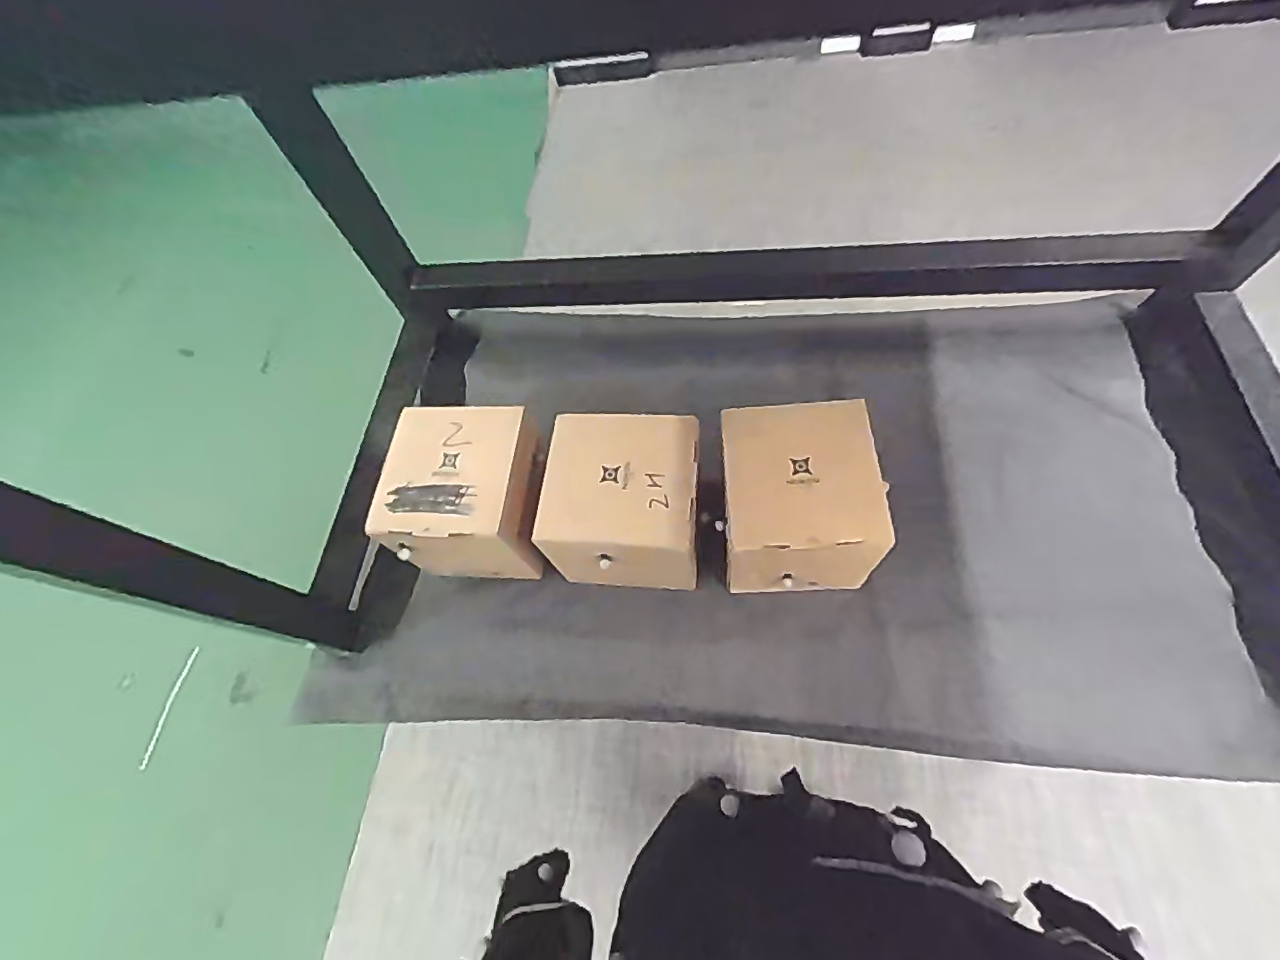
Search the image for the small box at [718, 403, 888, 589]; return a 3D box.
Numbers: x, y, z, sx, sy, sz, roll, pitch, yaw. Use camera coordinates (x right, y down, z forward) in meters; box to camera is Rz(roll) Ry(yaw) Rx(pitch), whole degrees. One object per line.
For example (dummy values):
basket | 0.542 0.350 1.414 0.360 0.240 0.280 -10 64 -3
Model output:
small box | 0.185 0.026 0.673 0.168 0.176 0.179 -4 64 6
